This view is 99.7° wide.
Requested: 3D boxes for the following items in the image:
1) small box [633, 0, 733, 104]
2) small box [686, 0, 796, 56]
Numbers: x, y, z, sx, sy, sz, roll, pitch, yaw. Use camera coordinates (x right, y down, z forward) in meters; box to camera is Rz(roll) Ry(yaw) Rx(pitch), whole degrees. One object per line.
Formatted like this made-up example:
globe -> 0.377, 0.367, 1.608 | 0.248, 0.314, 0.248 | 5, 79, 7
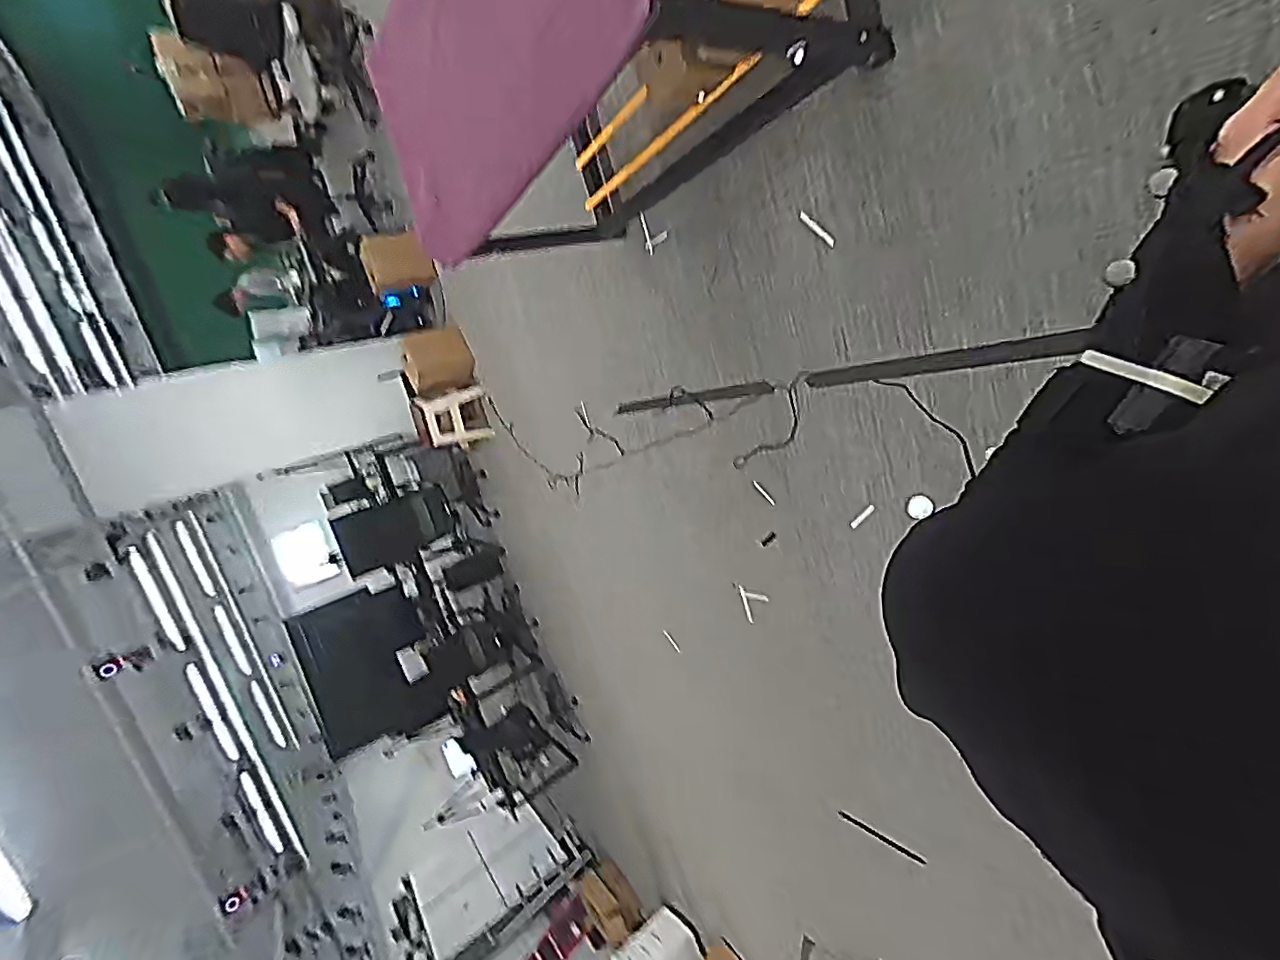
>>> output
small box -> 0.114, -1.110, 1.401 | 0.168, 0.176, 0.179 | 1, 113, 58
small box -> 0.226, -1.105, 1.227 | 0.168, 0.176, 0.179 | 1, 112, 58
